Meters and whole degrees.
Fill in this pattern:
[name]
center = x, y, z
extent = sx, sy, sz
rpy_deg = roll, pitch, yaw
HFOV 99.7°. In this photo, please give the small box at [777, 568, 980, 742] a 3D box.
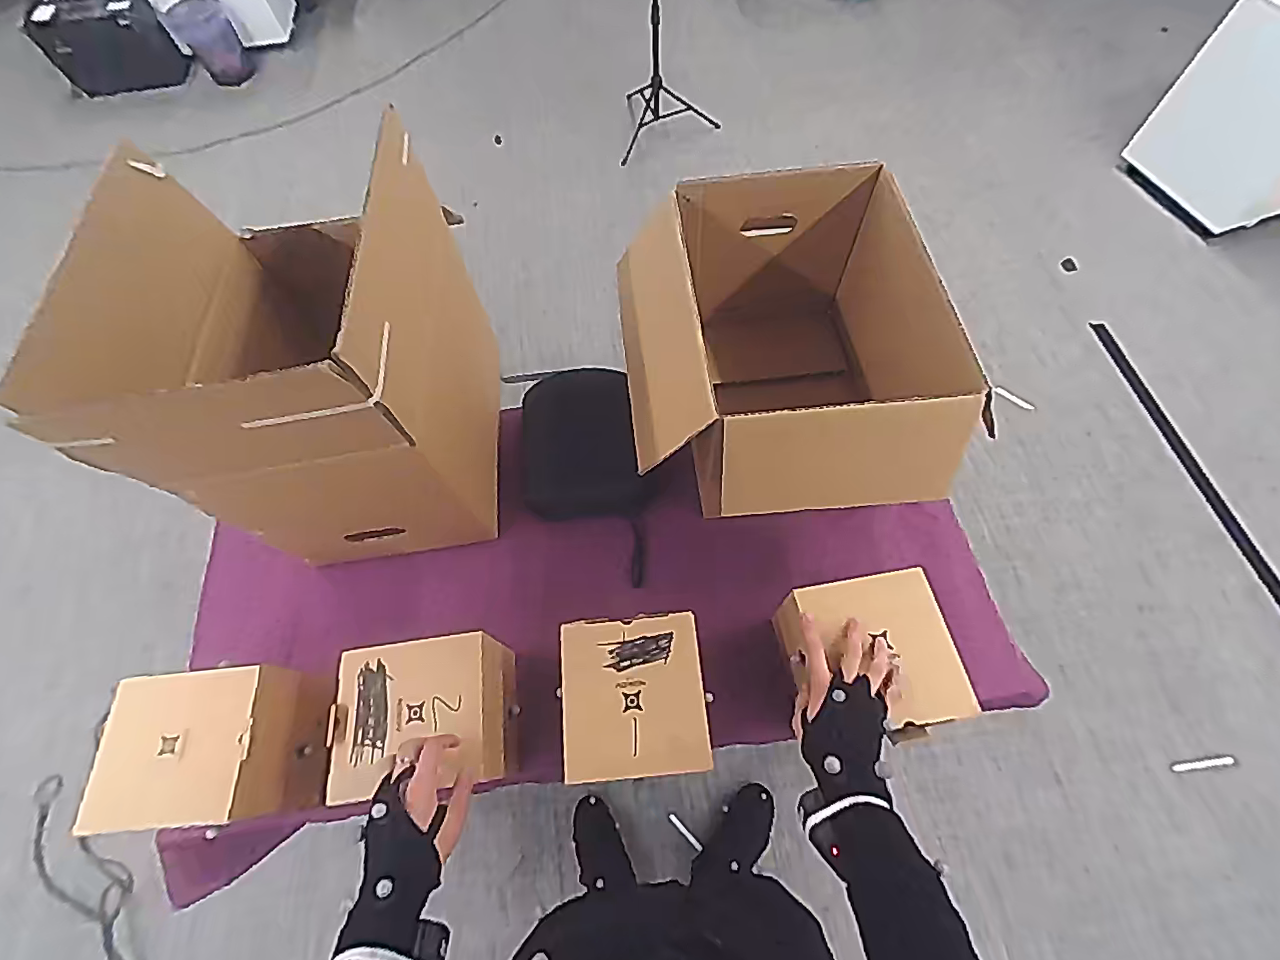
[small box]
center = 0.288, 0.233, 0.704
extent = 0.168, 0.176, 0.179
rpy_deg = -10, 64, -1
